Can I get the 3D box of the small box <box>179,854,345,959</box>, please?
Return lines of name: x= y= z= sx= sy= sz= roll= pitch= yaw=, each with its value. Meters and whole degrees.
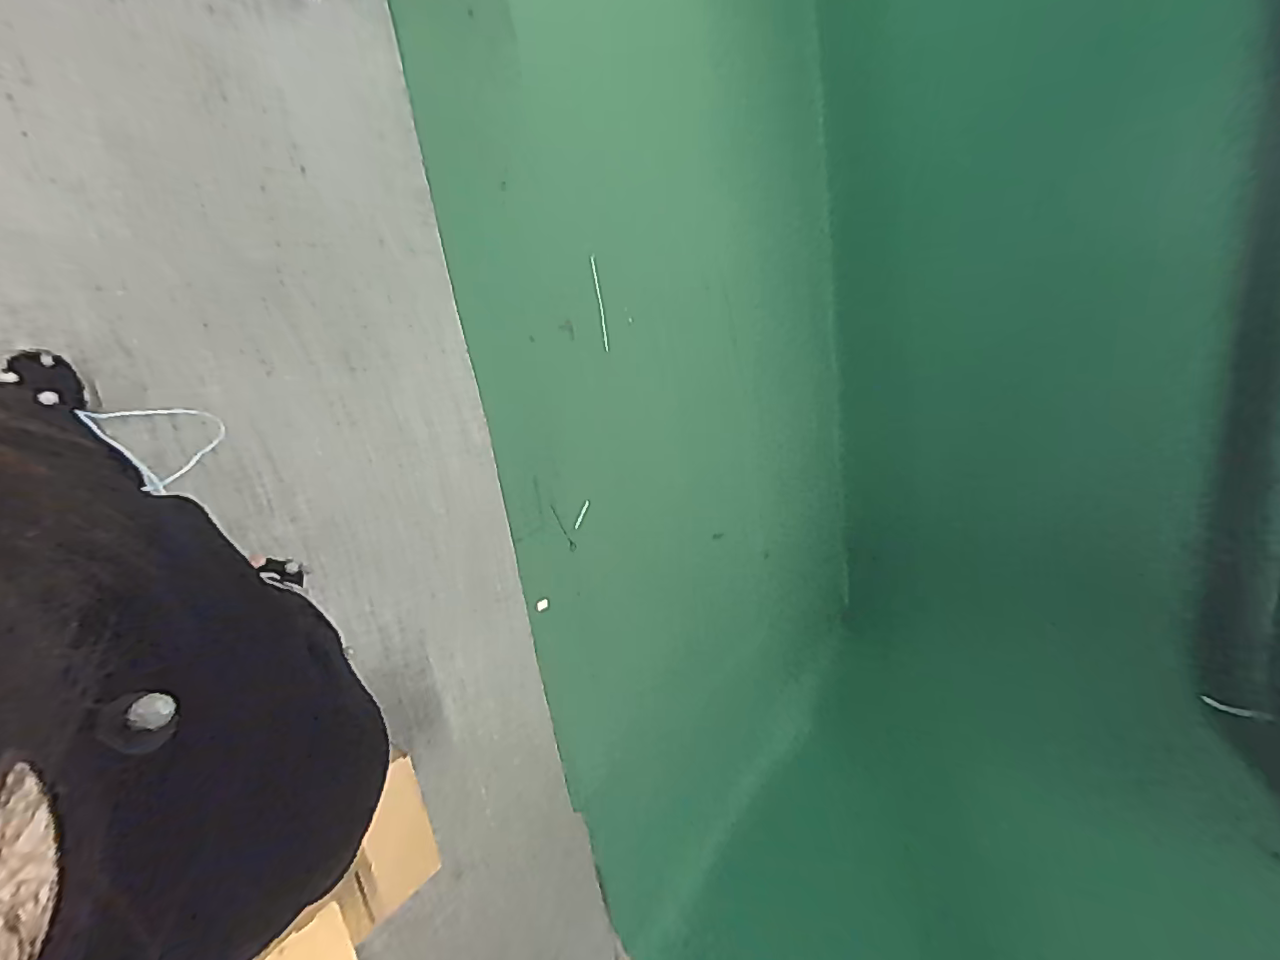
small box: x=-0.623 y=0.781 z=0.899 sx=0.168 sy=0.176 sz=0.179 roll=-24 pitch=111 yaw=-49
